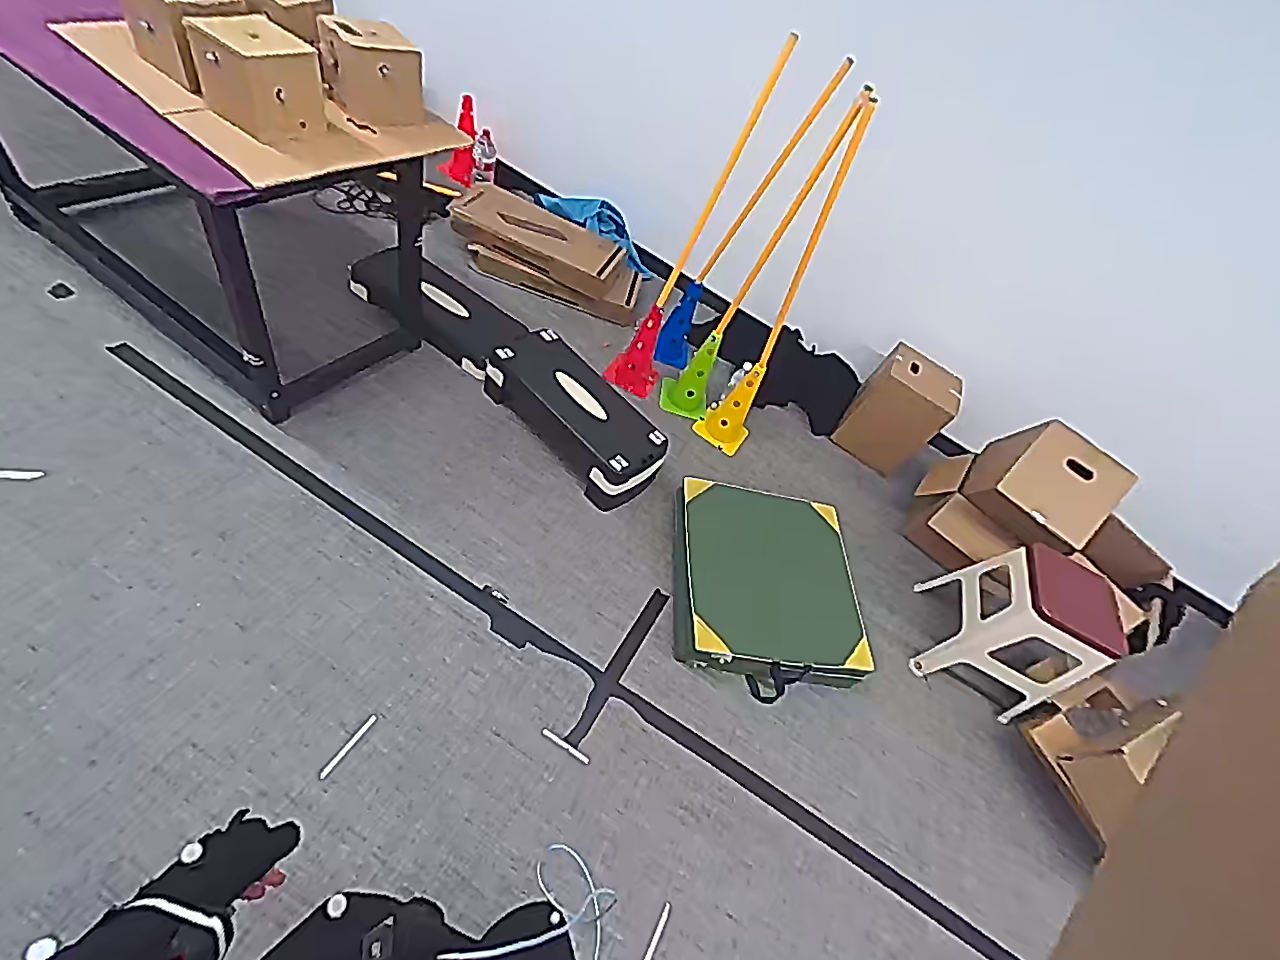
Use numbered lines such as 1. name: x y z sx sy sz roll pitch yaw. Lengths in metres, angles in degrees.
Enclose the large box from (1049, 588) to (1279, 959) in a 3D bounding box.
1. large box: 0.270 0.208 0.093 0.408 0.320 0.320 21 8 -44
